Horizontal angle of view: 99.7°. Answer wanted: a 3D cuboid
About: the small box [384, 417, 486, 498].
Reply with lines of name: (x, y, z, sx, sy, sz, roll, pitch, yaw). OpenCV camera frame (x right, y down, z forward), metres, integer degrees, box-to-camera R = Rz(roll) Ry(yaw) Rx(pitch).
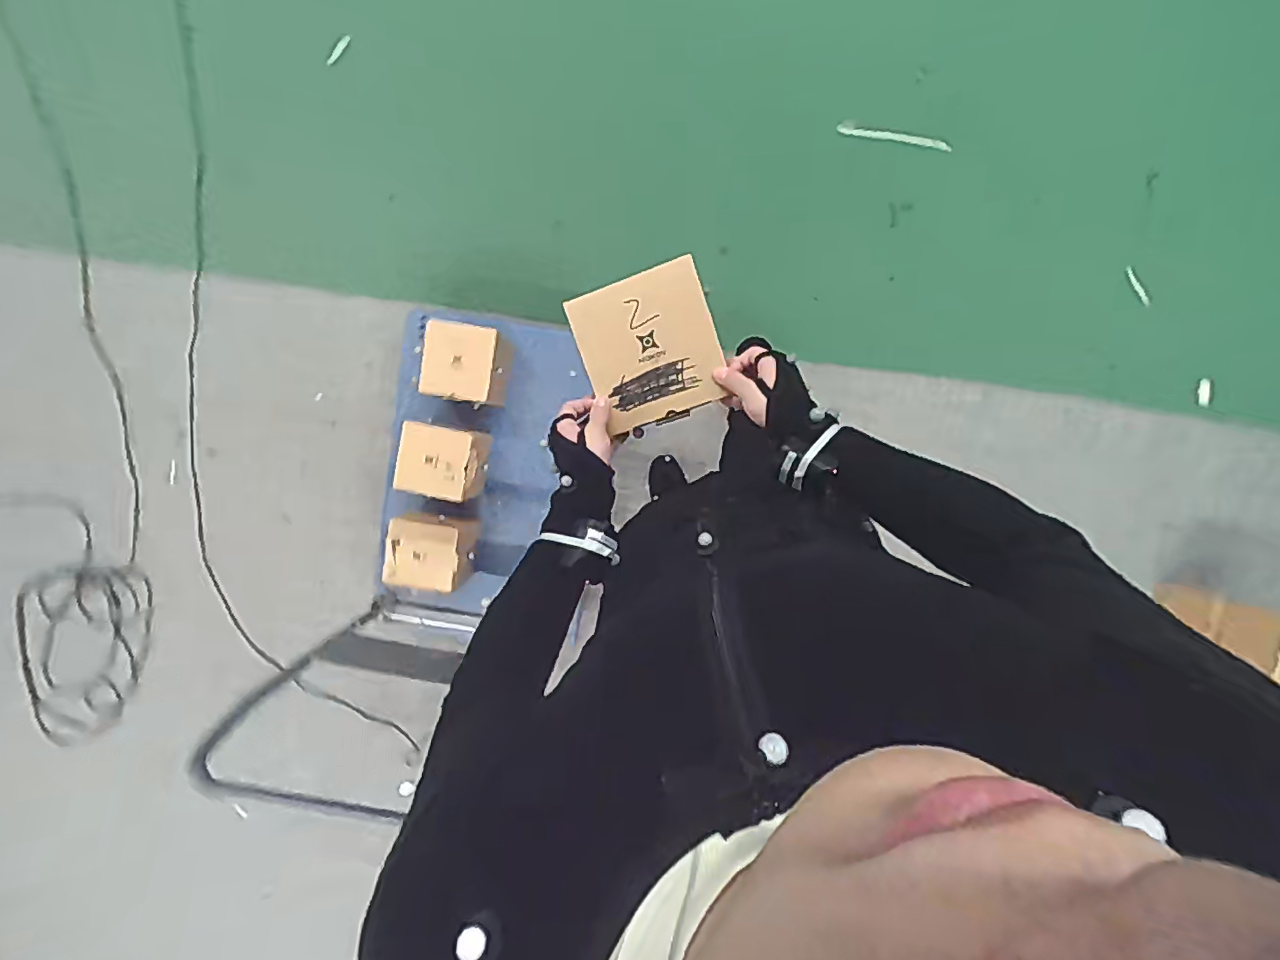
small box: (-0.509, -0.058, 1.361, 0.179, 0.176, 0.168, 12, 95, 0)

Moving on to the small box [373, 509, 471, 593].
small box: (-0.546, 0.174, 1.379, 0.179, 0.176, 0.168, 10, 94, -1)

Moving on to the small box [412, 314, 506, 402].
small box: (-0.442, -0.294, 1.342, 0.168, 0.176, 0.179, 10, 95, -1)

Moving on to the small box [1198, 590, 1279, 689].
small box: (1.619, 0.409, 1.389, 0.168, 0.176, 0.179, 44, 93, 0)
